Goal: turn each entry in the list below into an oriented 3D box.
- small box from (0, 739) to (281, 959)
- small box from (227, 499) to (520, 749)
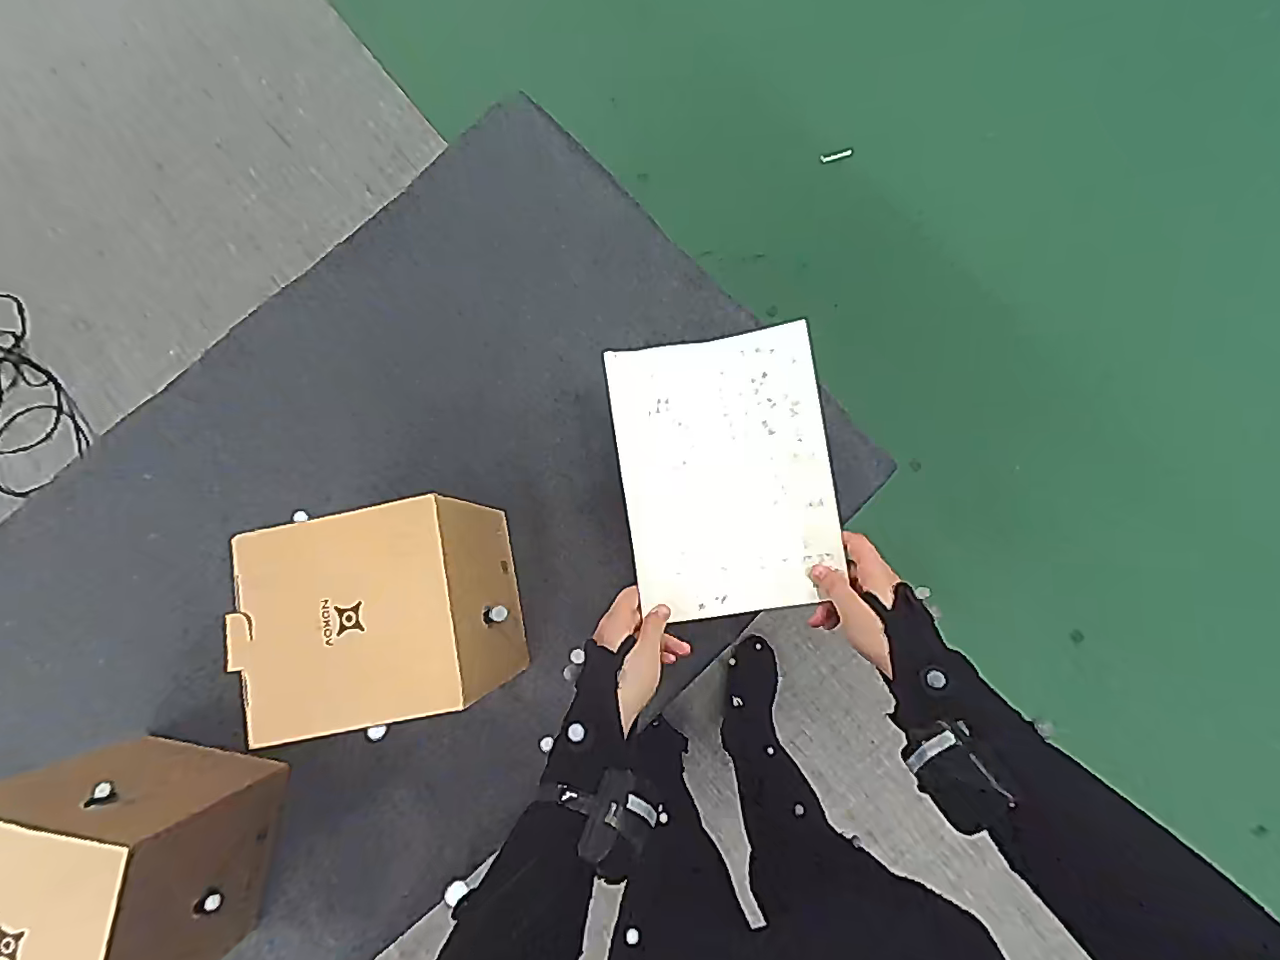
[{"bbox_3d":[-0.470,0.354,0.485,0.179,0.176,0.168,8,83,6],"label":"small box"},{"bbox_3d":[-0.220,0.117,0.492,0.179,0.176,0.168,-13,82,5],"label":"small box"}]
